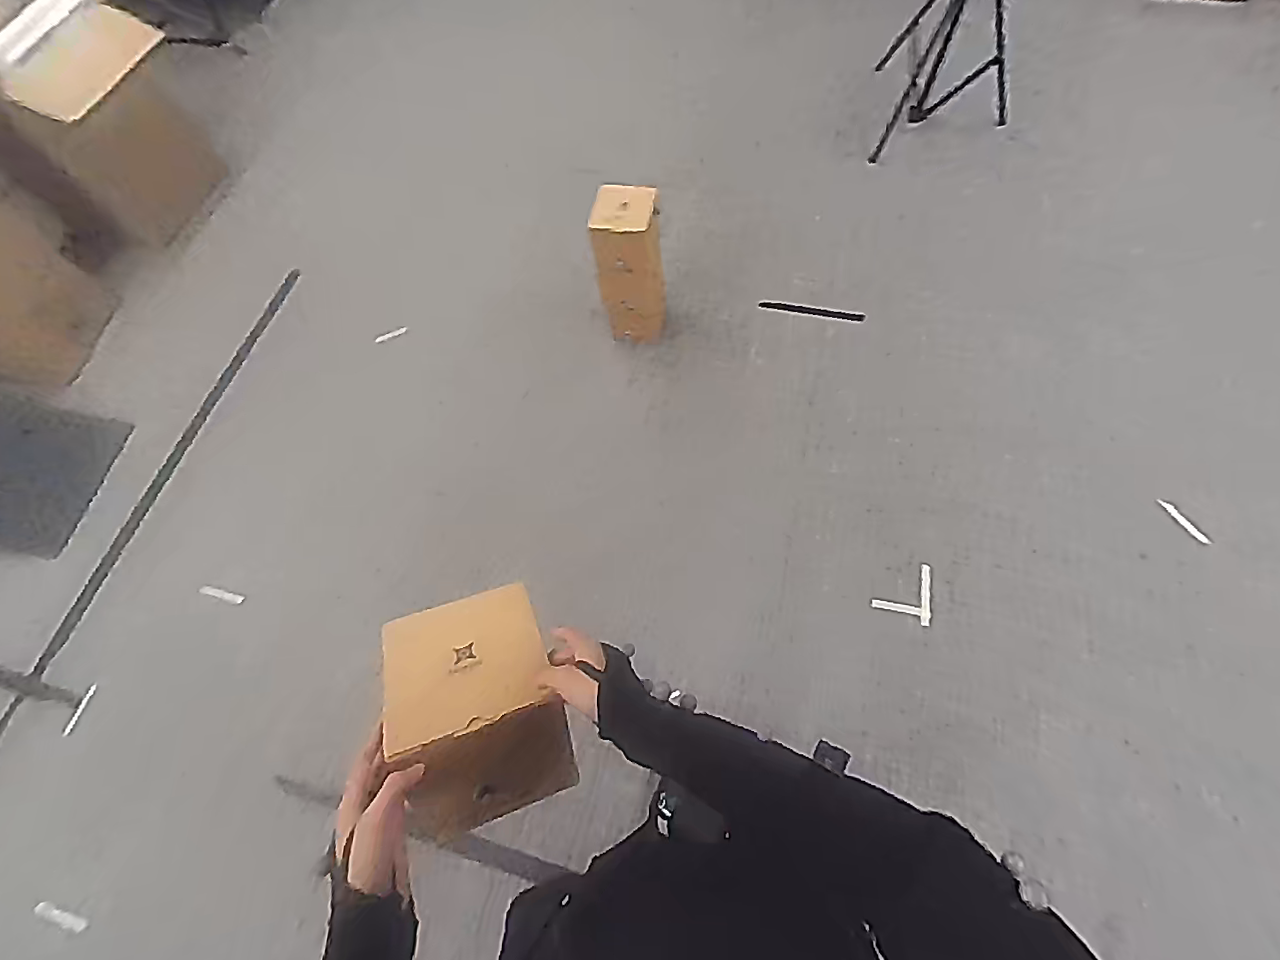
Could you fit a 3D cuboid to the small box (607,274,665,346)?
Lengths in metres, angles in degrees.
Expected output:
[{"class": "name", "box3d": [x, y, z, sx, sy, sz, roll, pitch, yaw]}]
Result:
[{"class": "small box", "box3d": [-0.009, -0.598, 1.883, 0.168, 0.176, 0.179, 10, 67, 9]}]

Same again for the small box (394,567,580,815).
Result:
[{"class": "small box", "box3d": [-0.174, 0.235, 0.622, 0.168, 0.176, 0.179, -14, 36, -17]}]

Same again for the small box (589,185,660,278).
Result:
[{"class": "small box", "box3d": [-0.038, -0.726, 1.583, 0.168, 0.176, 0.179, 10, 68, 10]}]
